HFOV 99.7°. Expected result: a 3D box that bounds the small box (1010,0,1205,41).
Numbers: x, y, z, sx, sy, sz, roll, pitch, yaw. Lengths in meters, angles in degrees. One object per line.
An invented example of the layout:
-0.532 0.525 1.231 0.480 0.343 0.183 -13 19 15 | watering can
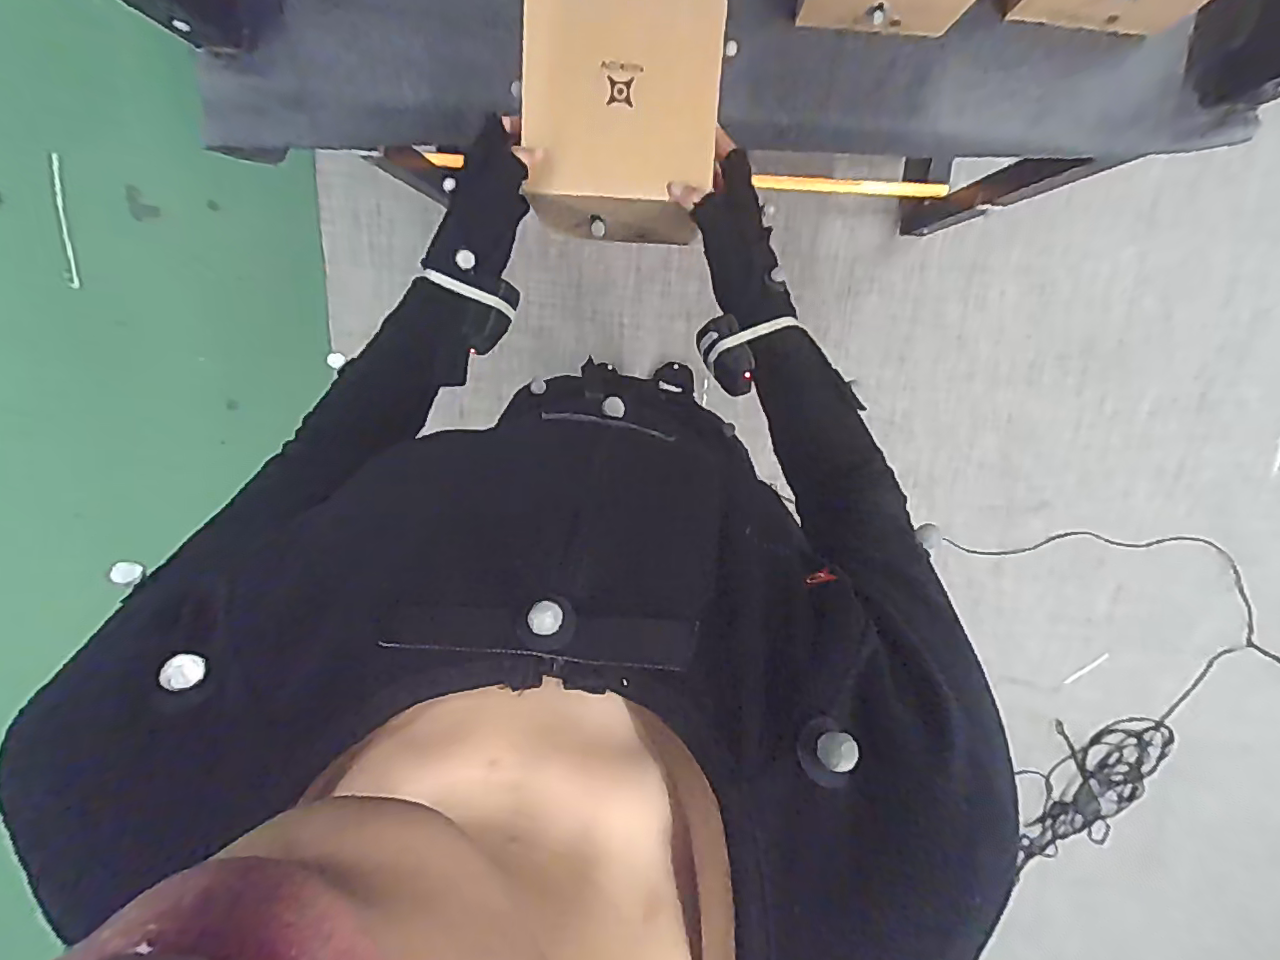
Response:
0.483 -0.551 0.497 0.168 0.176 0.179 7 104 0 | small box
